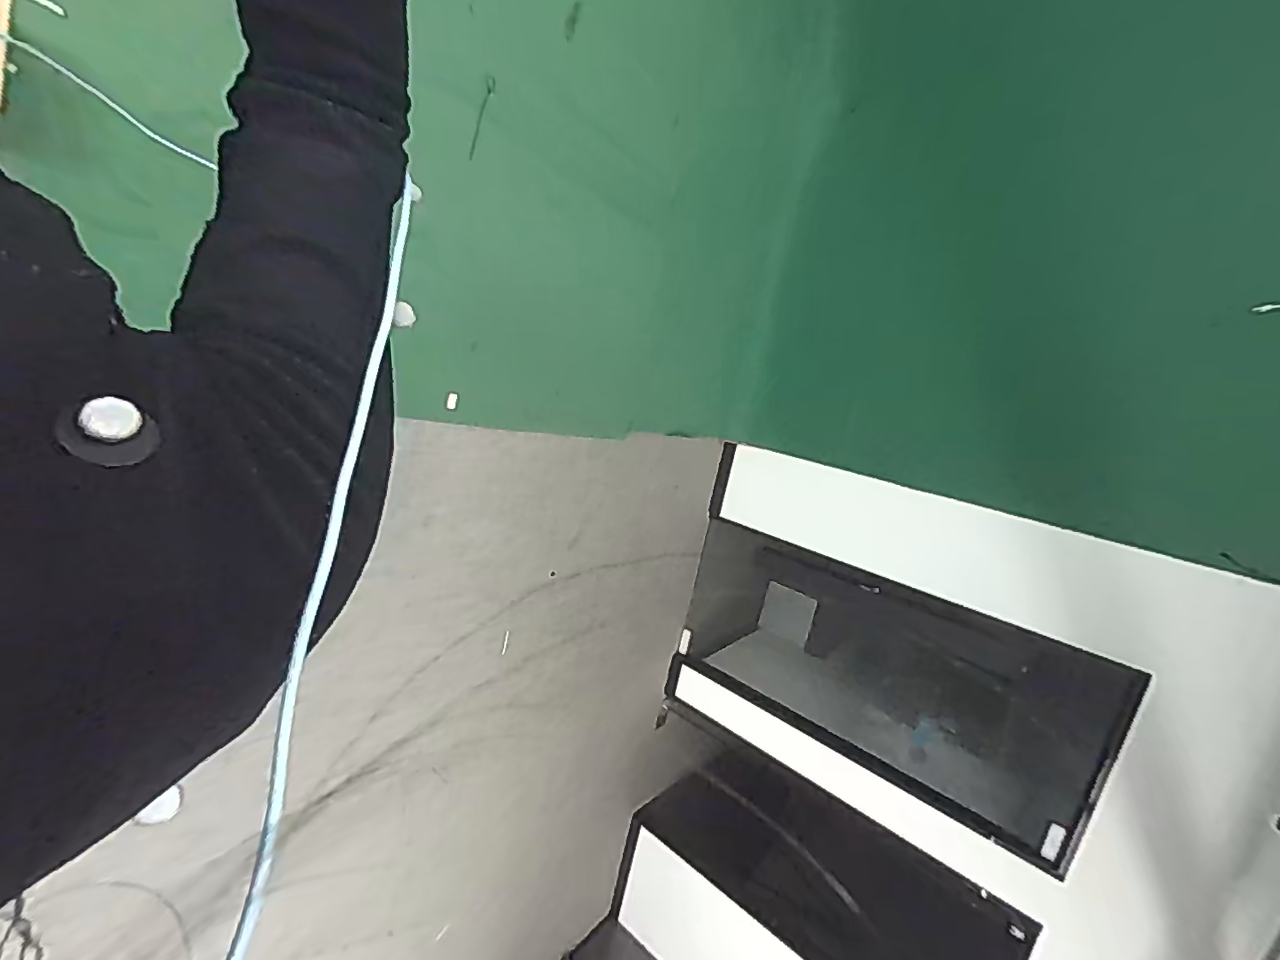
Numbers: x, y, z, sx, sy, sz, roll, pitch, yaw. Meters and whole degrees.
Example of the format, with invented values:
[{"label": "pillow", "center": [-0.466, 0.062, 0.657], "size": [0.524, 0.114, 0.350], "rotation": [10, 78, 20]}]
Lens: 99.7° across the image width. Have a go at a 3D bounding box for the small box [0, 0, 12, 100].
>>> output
[{"label": "small box", "center": [-1.040, -0.654, 0.775], "size": [0.168, 0.176, 0.179], "rotation": [4, 102, -54]}]
